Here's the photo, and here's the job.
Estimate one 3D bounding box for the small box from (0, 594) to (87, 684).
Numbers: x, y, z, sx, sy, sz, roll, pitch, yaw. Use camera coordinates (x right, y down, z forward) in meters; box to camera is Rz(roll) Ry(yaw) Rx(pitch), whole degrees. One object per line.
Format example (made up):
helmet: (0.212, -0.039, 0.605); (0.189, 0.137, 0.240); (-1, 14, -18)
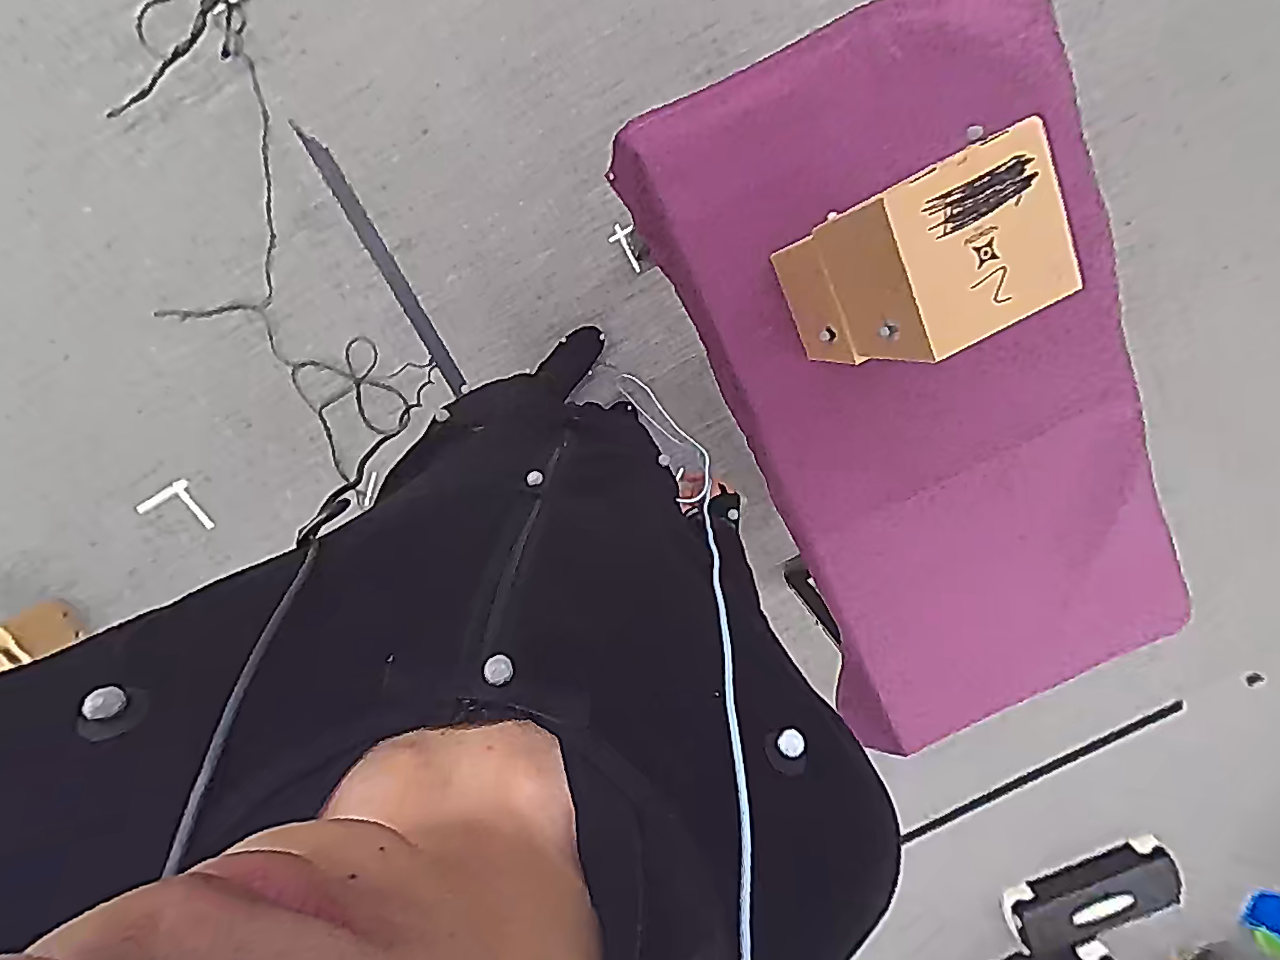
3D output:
small box: (-1.775, 0.457, 1.562); (0.179, 0.176, 0.168); (-24, 105, 3)

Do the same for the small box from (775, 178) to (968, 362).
small box: (0.315, -0.285, 0.764); (0.168, 0.176, 0.179); (-25, 106, 2)
